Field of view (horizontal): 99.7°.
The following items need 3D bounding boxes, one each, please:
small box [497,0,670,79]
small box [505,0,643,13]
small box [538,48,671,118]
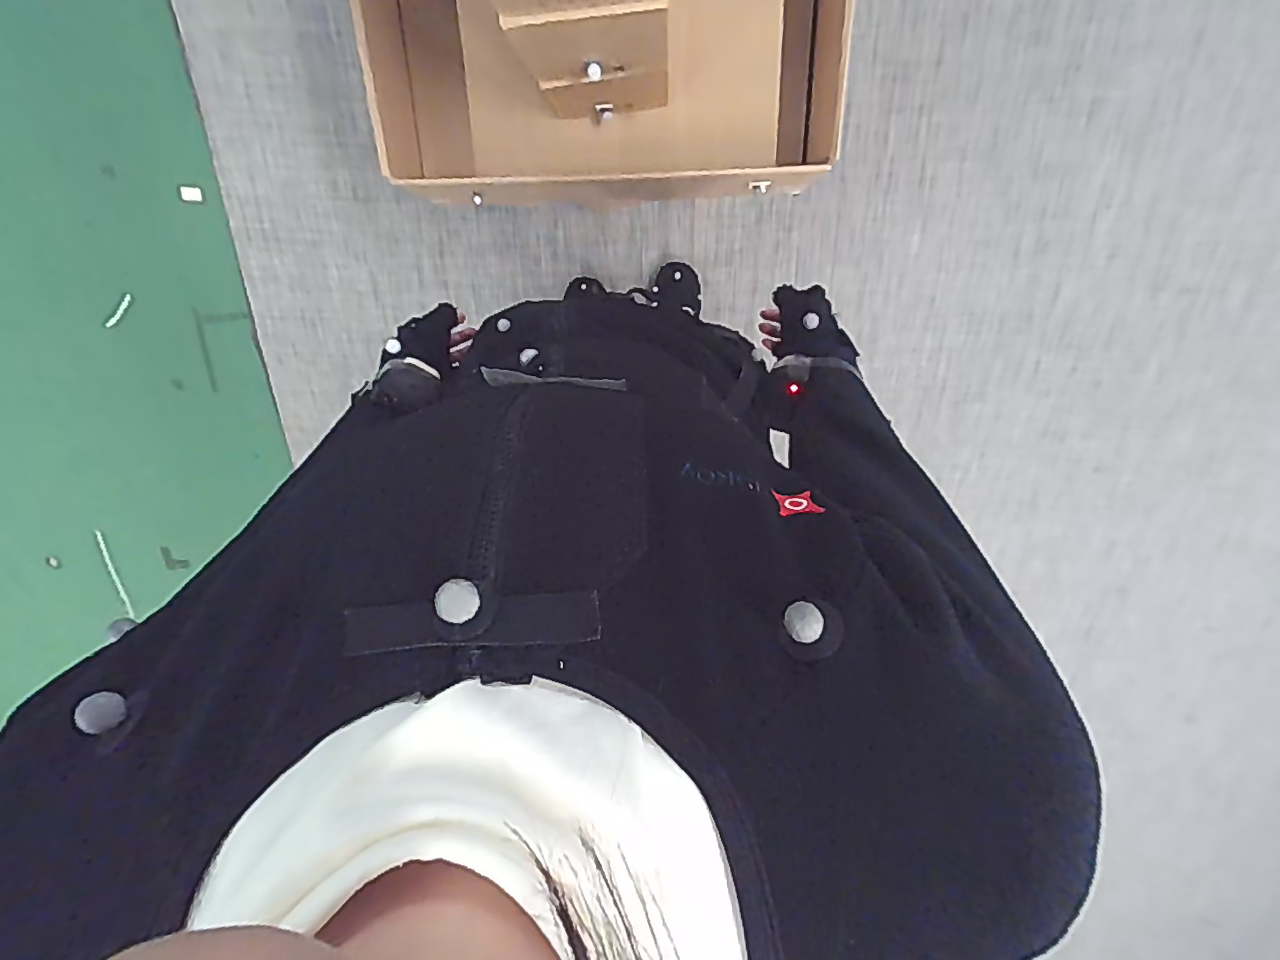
[{"bbox_3d":[-0.055,-0.550,0.558,0.168,0.176,0.179,-2,112,5],"label":"small box"},{"bbox_3d":[-0.064,-0.500,0.402,0.168,0.176,0.179,-2,110,6],"label":"small box"},{"bbox_3d":[-0.048,-0.607,0.711,0.168,0.176,0.179,-4,112,5],"label":"small box"}]
